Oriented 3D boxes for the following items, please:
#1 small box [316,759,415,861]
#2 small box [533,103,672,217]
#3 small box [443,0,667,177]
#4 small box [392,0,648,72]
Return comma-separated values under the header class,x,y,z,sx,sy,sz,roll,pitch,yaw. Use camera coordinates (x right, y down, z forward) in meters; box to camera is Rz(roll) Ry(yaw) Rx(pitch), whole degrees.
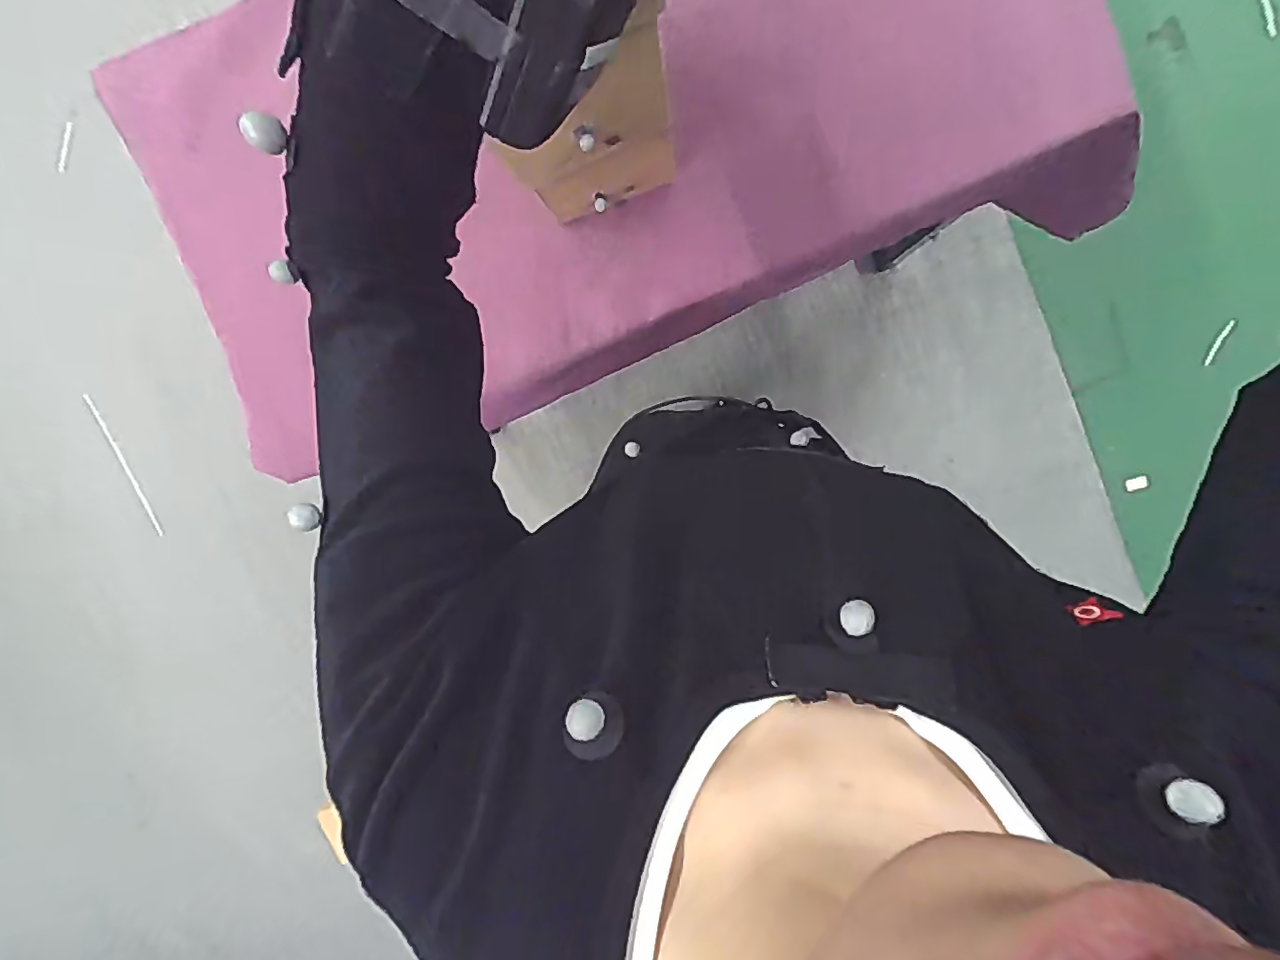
class,x,y,z,sx,sy,sz,roll,pitch,yaw
small box,-0.808,0.976,1.610,0.168,0.176,0.179,-23,94,8
small box,-0.066,-0.443,0.626,0.168,0.176,0.179,-18,95,9
small box,-0.082,-0.407,0.466,0.168,0.176,0.179,-19,95,9
small box,-0.094,-0.380,0.304,0.168,0.176,0.179,-19,94,9
